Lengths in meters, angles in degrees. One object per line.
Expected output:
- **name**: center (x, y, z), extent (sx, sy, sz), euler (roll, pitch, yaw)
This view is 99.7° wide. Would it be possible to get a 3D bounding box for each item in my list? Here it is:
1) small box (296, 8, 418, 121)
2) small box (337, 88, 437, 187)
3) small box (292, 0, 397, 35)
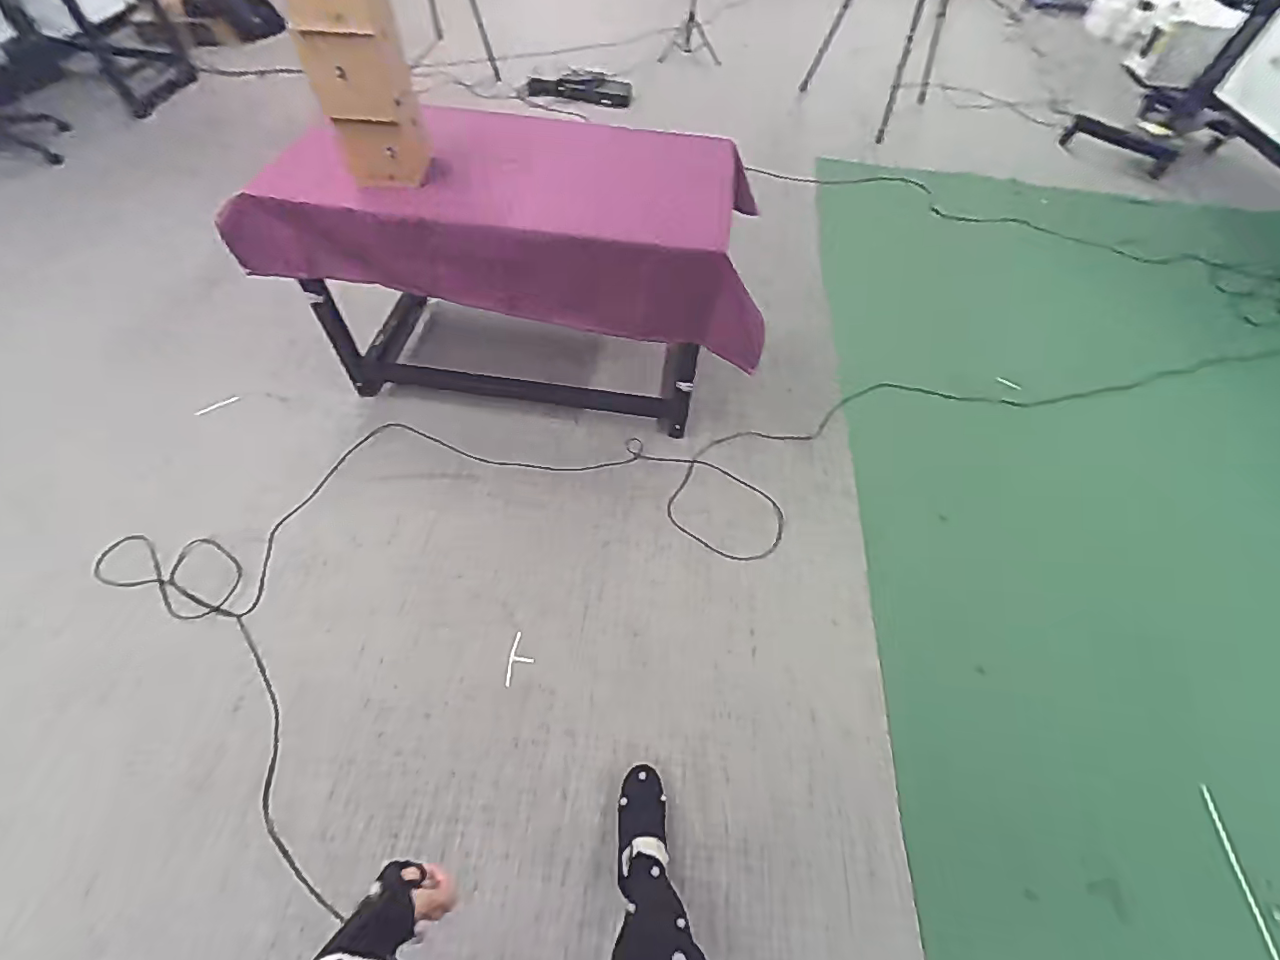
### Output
- **small box**: center (-0.623, -0.940, 1.220), extent (0.179, 0.176, 0.168), euler (2, 55, -3)
- **small box**: center (-0.628, -0.867, 1.368), extent (0.168, 0.176, 0.179), euler (3, 54, -3)
- **small box**: center (-0.606, -1.022, 1.080), extent (0.168, 0.176, 0.179), euler (-1, 55, -5)
